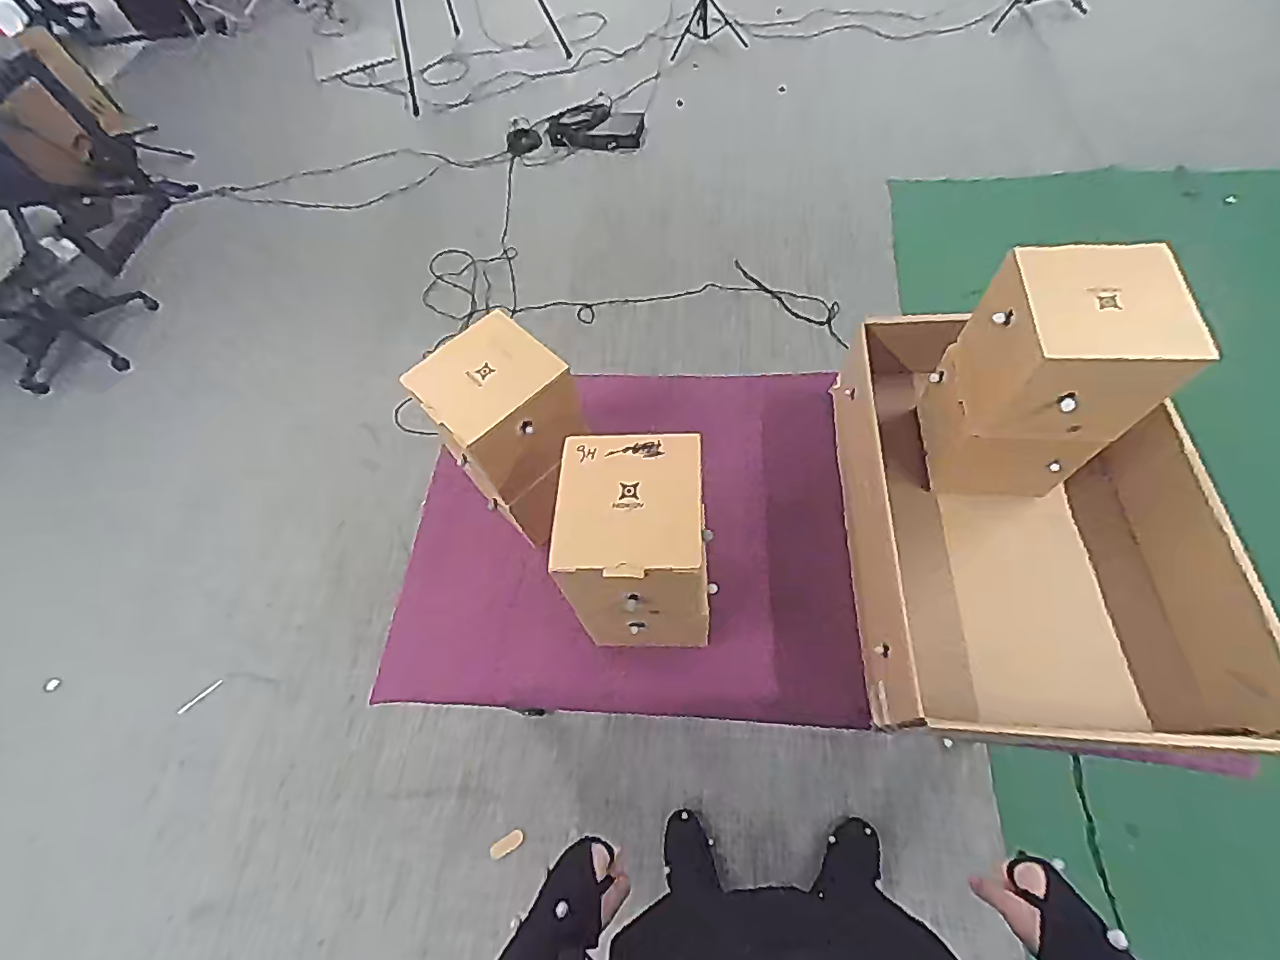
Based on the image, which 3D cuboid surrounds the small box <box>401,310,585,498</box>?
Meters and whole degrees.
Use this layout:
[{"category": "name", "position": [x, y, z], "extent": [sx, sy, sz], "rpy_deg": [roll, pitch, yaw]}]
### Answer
[{"category": "small box", "position": [-0.201, -0.104, 0.793], "extent": [0.179, 0.176, 0.168], "rpy_deg": [-41, 66, -16]}]

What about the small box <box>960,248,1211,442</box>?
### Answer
[{"category": "small box", "position": [0.531, -0.161, 0.680], "extent": [0.168, 0.176, 0.179], "rpy_deg": [2, 62, 9]}]

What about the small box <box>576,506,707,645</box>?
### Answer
[{"category": "small box", "position": [0.011, 0.148, 0.815], "extent": [0.179, 0.176, 0.168], "rpy_deg": [-1, 60, 6]}]

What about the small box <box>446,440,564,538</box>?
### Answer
[{"category": "small box", "position": [-0.192, -0.022, 0.933], "extent": [0.168, 0.176, 0.179], "rpy_deg": [-41, 65, -16]}]

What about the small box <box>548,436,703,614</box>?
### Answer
[{"category": "small box", "position": [-0.006, 0.062, 0.677], "extent": [0.168, 0.176, 0.179], "rpy_deg": [0, 61, 6]}]
